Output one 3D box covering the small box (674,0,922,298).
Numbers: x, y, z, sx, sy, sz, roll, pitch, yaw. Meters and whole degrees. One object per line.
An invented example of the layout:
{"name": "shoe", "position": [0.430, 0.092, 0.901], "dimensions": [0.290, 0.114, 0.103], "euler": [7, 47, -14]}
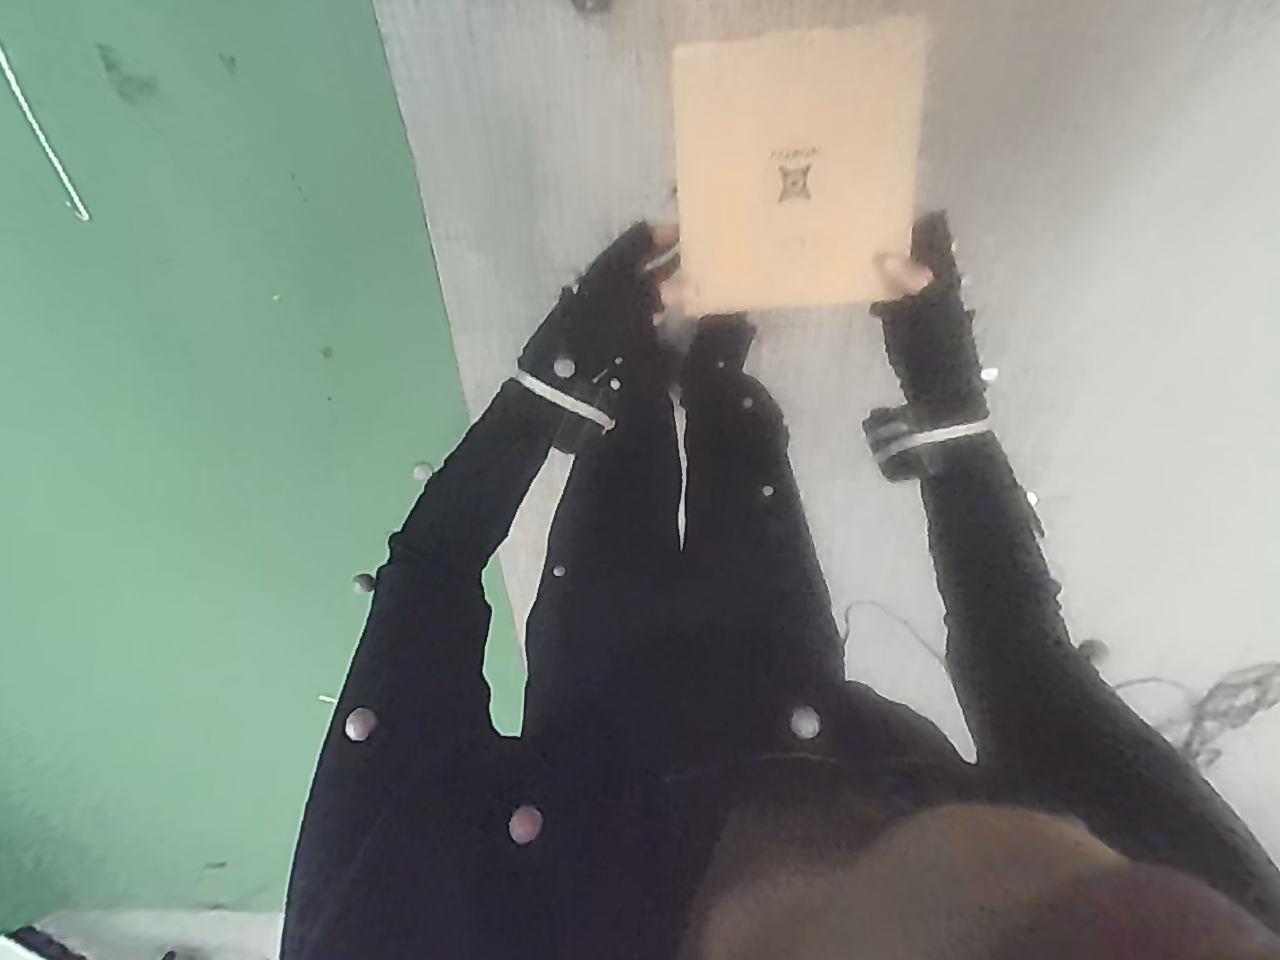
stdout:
{"name": "small box", "position": [0.113, -0.251, 0.456], "dimensions": [0.168, 0.176, 0.179], "euler": [-2, 109, 6]}
